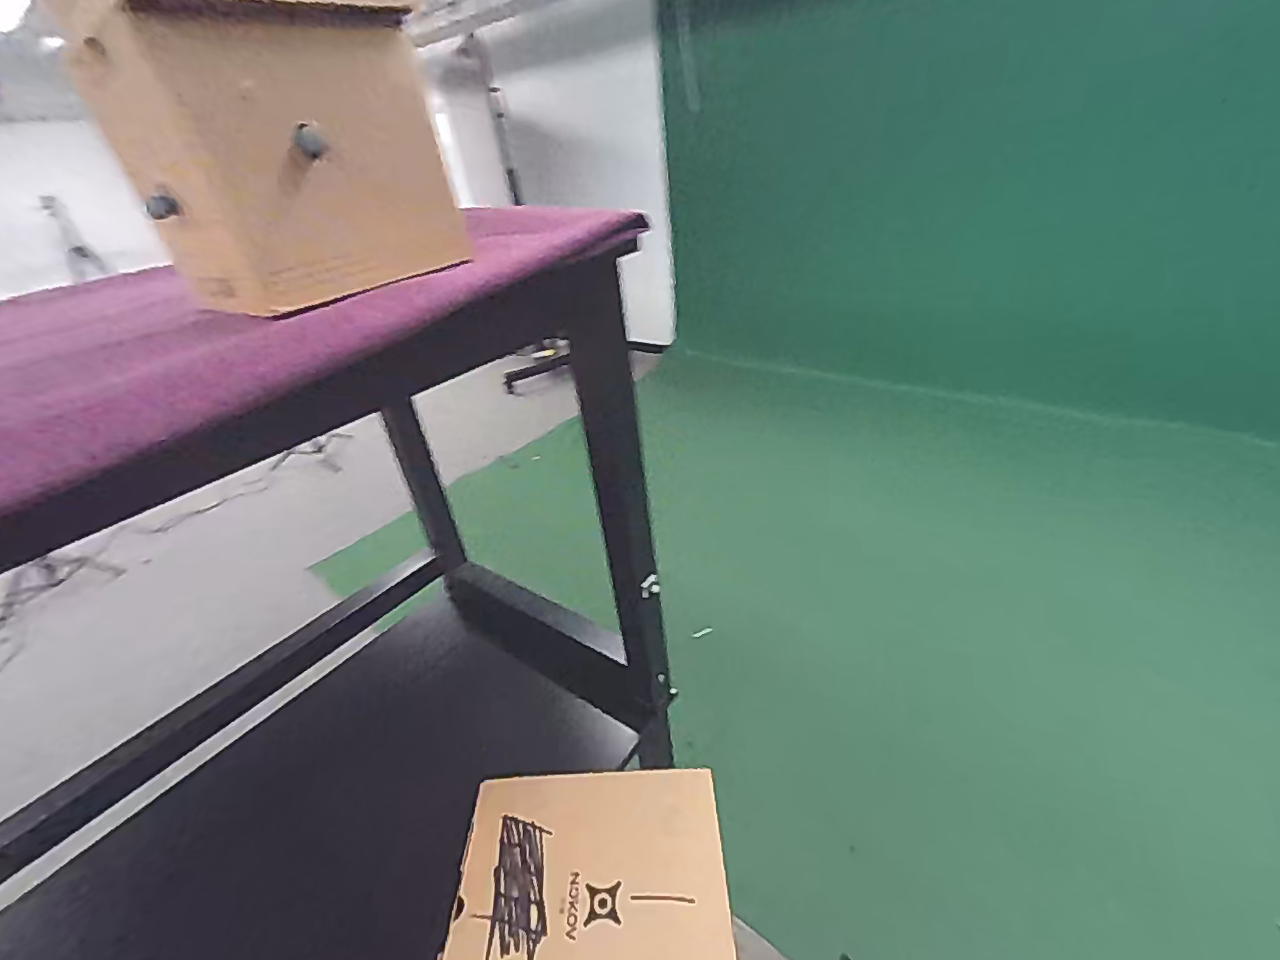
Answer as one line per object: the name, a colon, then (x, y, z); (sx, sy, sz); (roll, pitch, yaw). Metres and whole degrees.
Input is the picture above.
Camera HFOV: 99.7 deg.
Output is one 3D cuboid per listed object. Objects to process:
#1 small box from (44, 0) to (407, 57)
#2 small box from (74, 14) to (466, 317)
small box: (-0.285, -0.371, 0.336); (0.168, 0.176, 0.179); (15, 39, 35)
small box: (-0.272, -0.237, 0.428); (0.168, 0.176, 0.179); (16, 40, 35)
